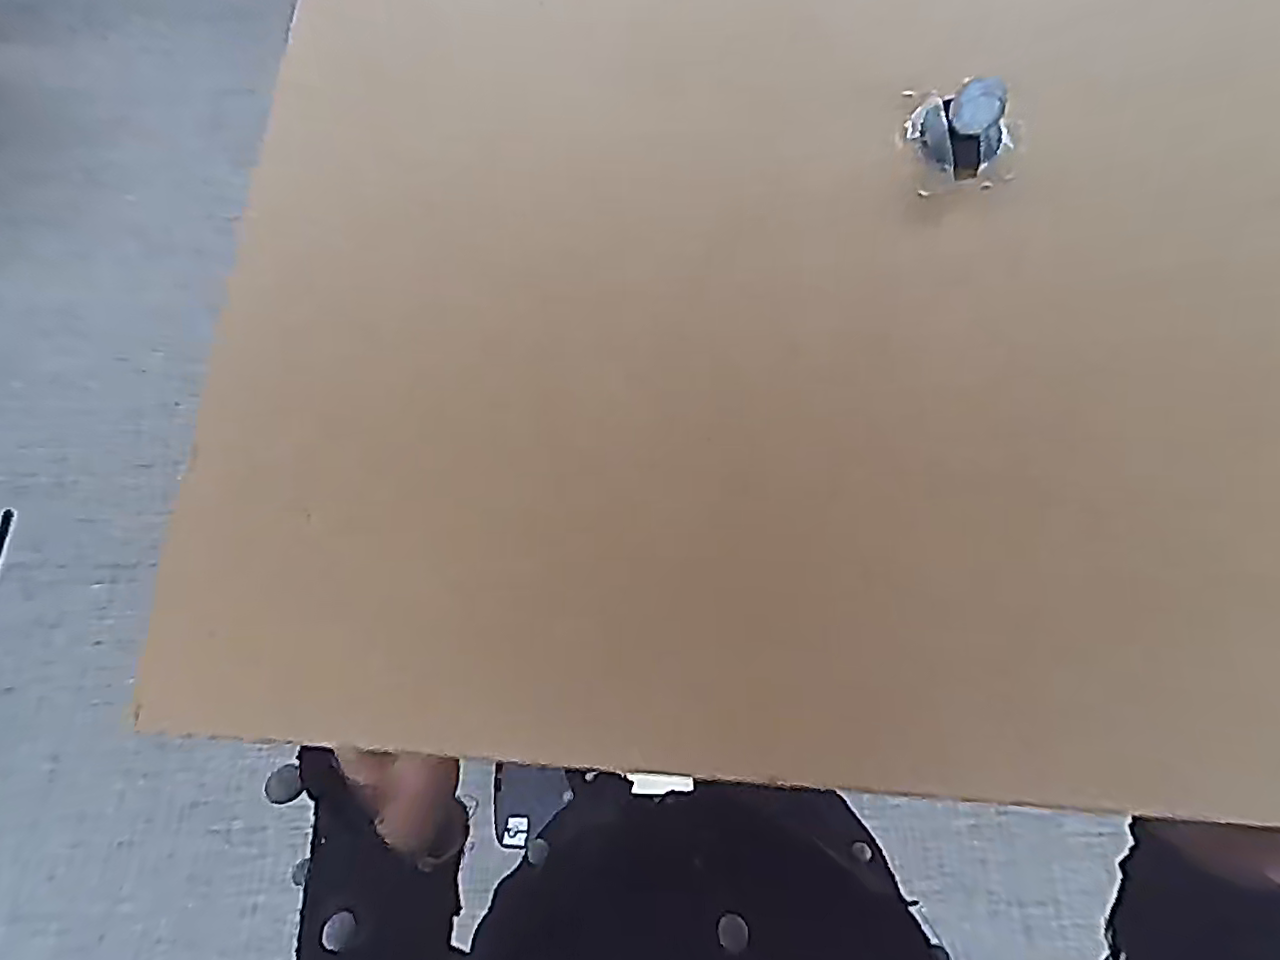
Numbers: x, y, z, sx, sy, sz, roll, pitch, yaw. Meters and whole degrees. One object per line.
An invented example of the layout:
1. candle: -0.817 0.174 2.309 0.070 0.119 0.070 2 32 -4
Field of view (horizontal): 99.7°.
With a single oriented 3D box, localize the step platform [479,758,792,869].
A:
1. step platform: -0.008 0.665 1.227 0.684 0.204 0.286 4 73 3
